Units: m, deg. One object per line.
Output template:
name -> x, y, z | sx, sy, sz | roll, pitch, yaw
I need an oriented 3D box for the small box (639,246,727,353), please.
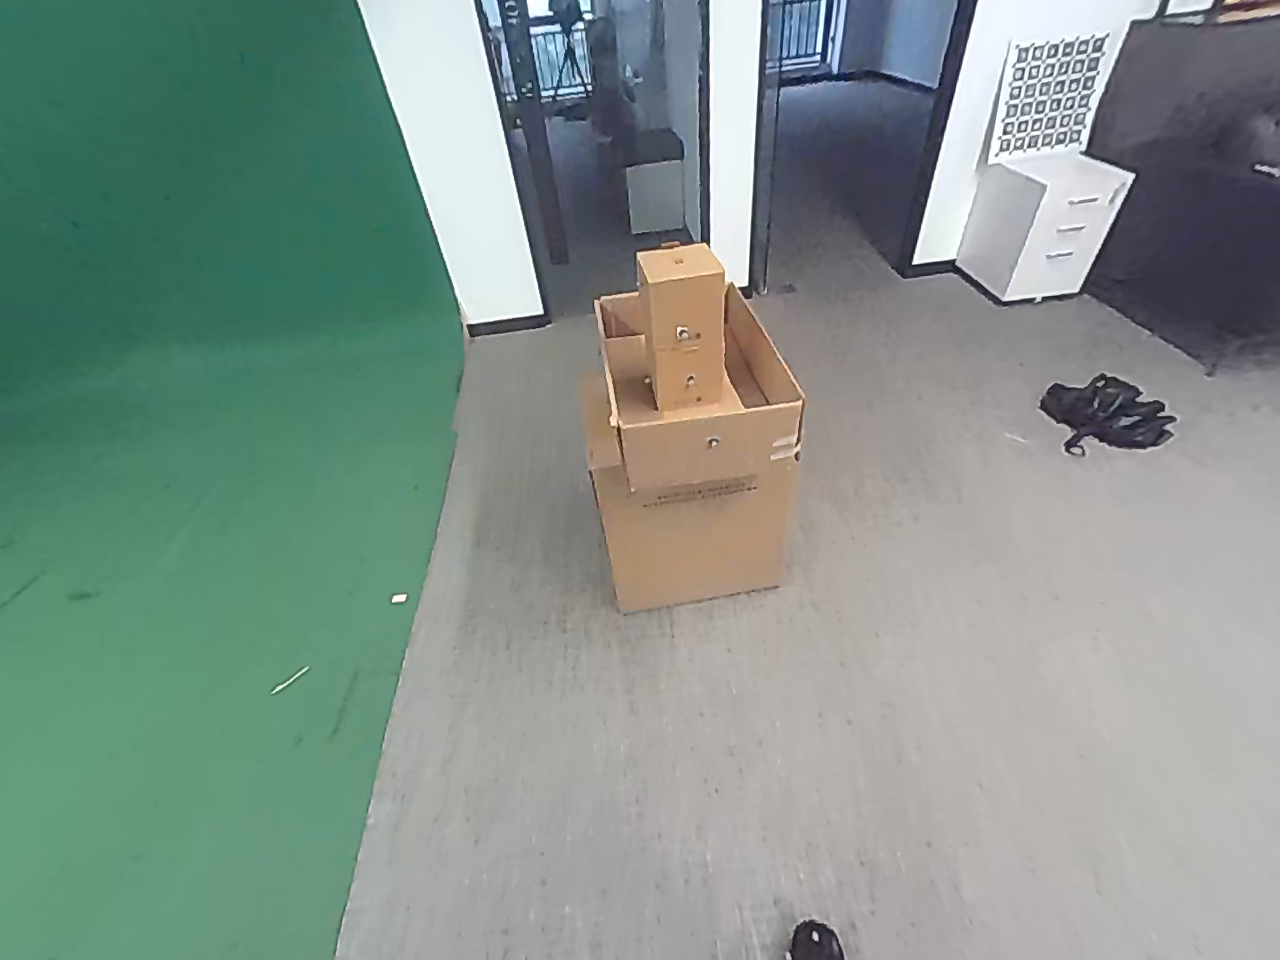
small box -> 0.095, -0.414, 1.239 | 0.168, 0.176, 0.179 | -10, 44, -3
